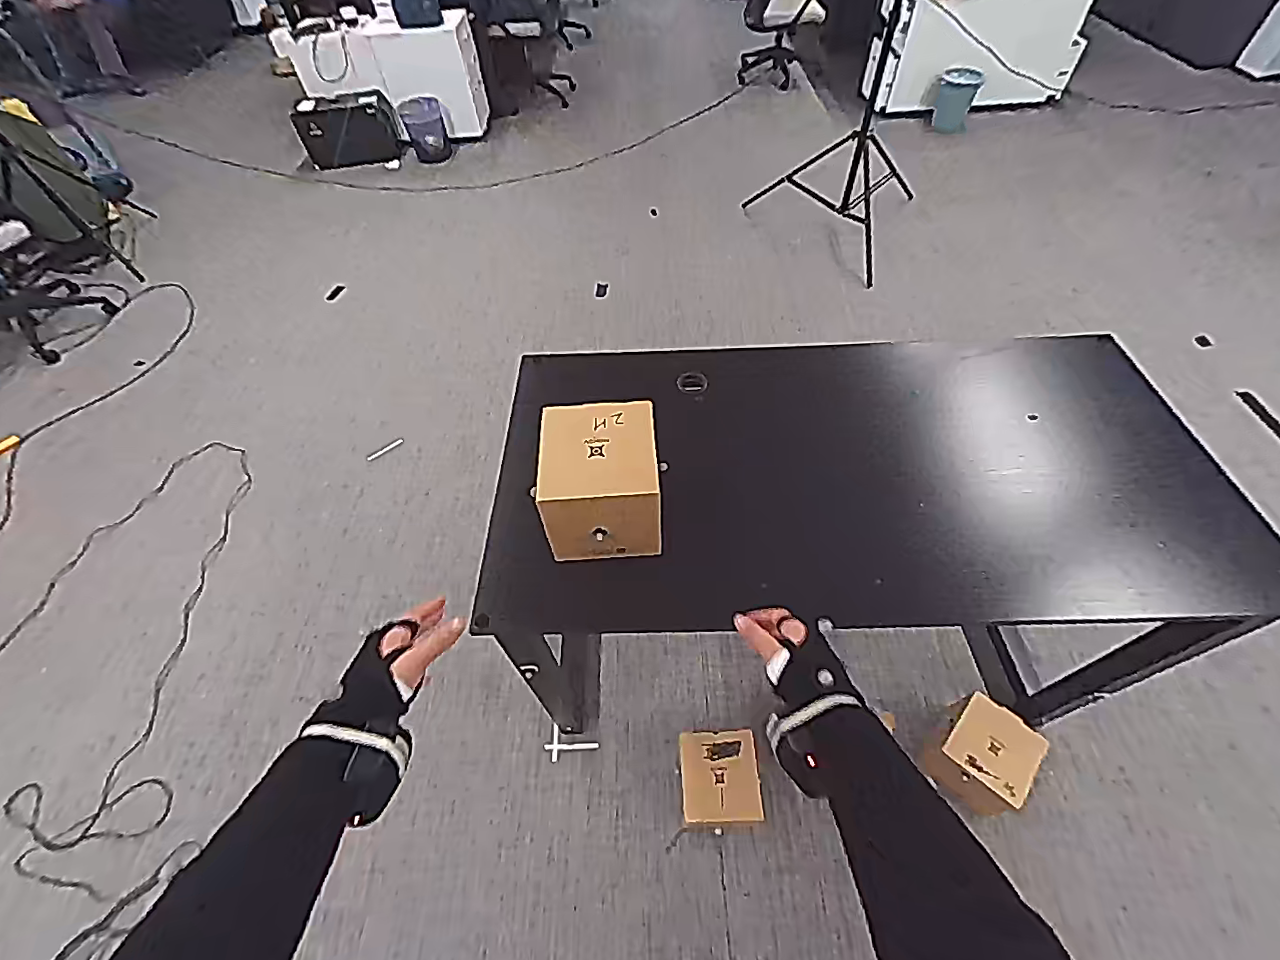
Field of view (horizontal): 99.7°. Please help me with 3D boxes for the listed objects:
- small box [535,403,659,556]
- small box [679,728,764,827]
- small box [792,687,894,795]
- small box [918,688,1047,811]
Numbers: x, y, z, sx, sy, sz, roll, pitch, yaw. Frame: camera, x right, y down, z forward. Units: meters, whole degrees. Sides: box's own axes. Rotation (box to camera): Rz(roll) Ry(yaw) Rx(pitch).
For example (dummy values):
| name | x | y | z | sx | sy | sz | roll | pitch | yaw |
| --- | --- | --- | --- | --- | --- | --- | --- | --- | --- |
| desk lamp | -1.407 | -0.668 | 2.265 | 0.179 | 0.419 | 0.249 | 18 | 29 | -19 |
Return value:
| name | x | y | z | sx | sy | sz | roll | pitch | yaw |
| --- | --- | --- | --- | --- | --- | --- | --- | --- | --- |
| small box | -0.058 | 0.006 | 0.828 | 0.168 | 0.176 | 0.179 | -4 | 53 | 0 |
| small box | 0.175 | 0.676 | 1.225 | 0.168 | 0.176 | 0.179 | -3 | 55 | 1 |
| small box | 0.468 | 0.612 | 1.257 | 0.179 | 0.176 | 0.168 | 14 | 55 | 15 |
| small box | 0.770 | 0.616 | 1.232 | 0.168 | 0.176 | 0.179 | 35 | 63 | 26 |
